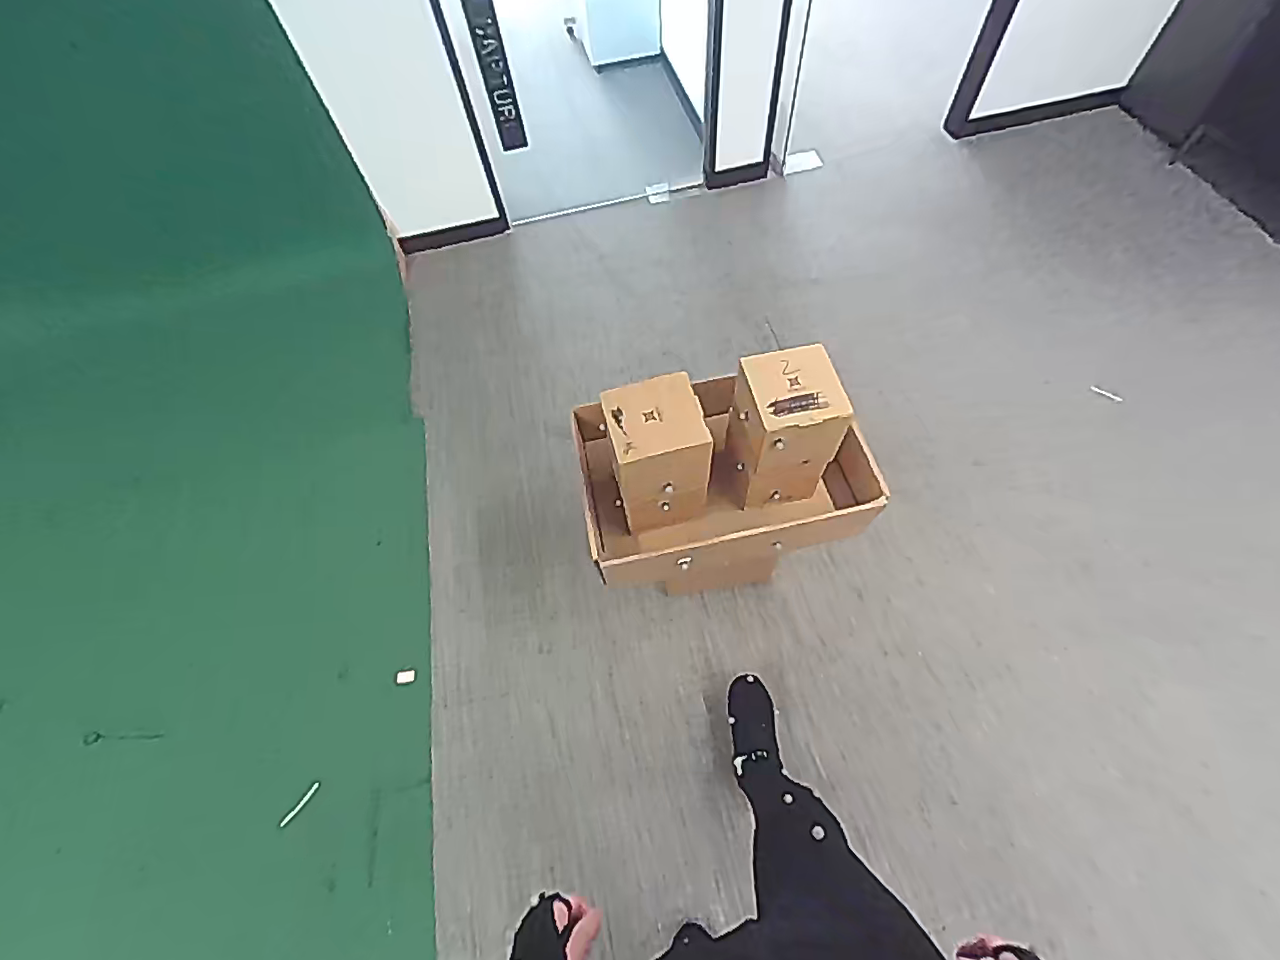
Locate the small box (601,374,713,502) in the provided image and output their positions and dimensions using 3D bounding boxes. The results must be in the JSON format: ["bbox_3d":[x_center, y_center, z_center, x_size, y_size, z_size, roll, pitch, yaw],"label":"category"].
[{"bbox_3d":[0.031,-0.077,1.056,0.179,0.176,0.168,-14,61,-4],"label":"small box"}]

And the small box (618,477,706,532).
[{"bbox_3d":[0.040,-0.001,1.199,0.179,0.176,0.168,-13,62,-4],"label":"small box"}]
